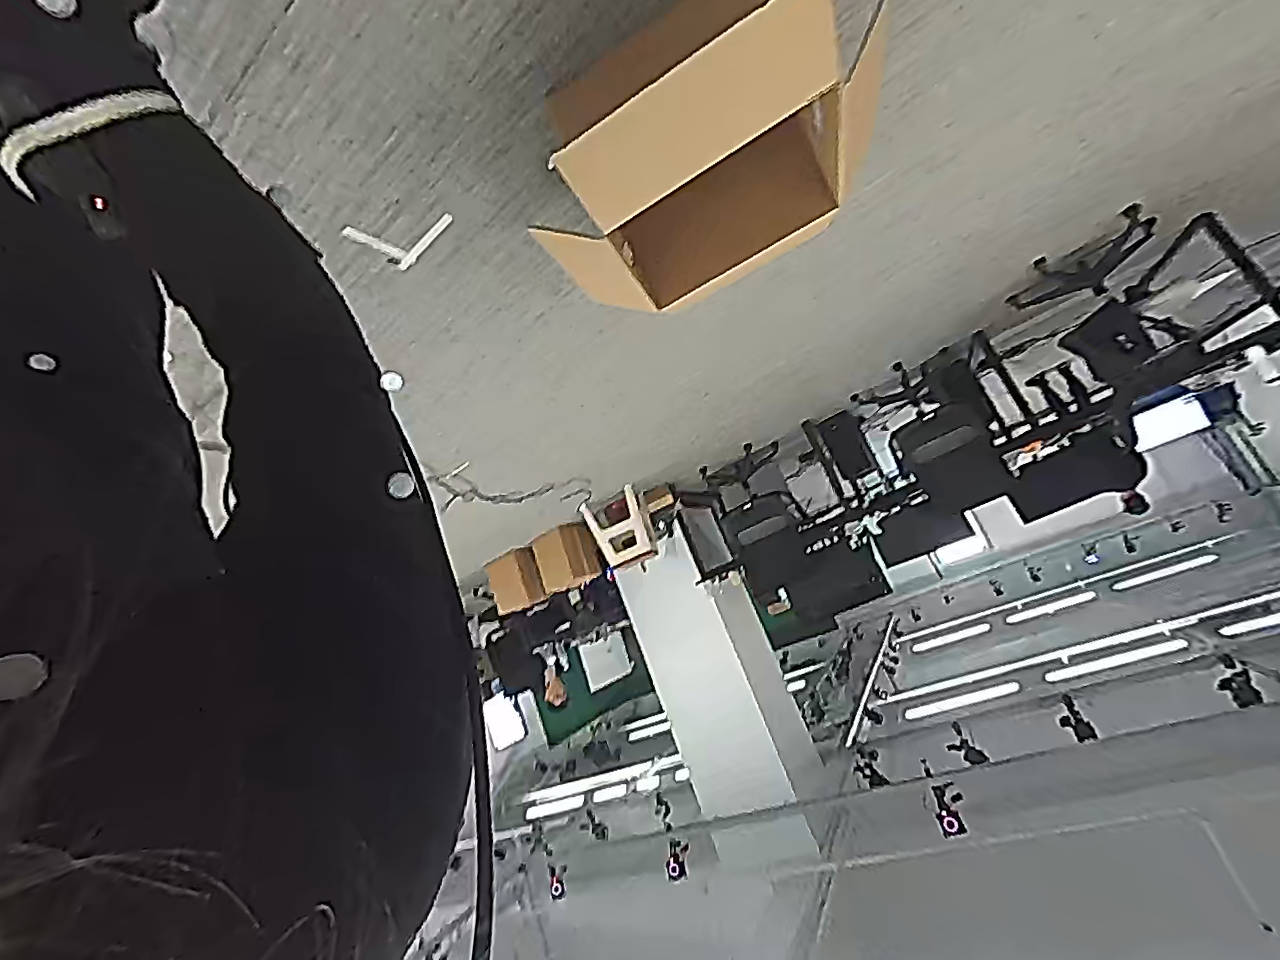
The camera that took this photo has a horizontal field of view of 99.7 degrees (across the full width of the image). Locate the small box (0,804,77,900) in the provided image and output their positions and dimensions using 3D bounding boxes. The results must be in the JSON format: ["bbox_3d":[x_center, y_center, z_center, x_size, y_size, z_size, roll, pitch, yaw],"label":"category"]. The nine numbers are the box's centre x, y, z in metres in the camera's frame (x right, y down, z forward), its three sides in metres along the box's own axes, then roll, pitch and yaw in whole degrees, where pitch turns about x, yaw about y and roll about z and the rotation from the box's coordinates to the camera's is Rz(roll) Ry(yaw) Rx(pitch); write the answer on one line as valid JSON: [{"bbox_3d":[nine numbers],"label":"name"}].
[{"bbox_3d":[-1.647,0.999,1.436,0.168,0.176,0.179,-30,164,29],"label":"small box"}]
